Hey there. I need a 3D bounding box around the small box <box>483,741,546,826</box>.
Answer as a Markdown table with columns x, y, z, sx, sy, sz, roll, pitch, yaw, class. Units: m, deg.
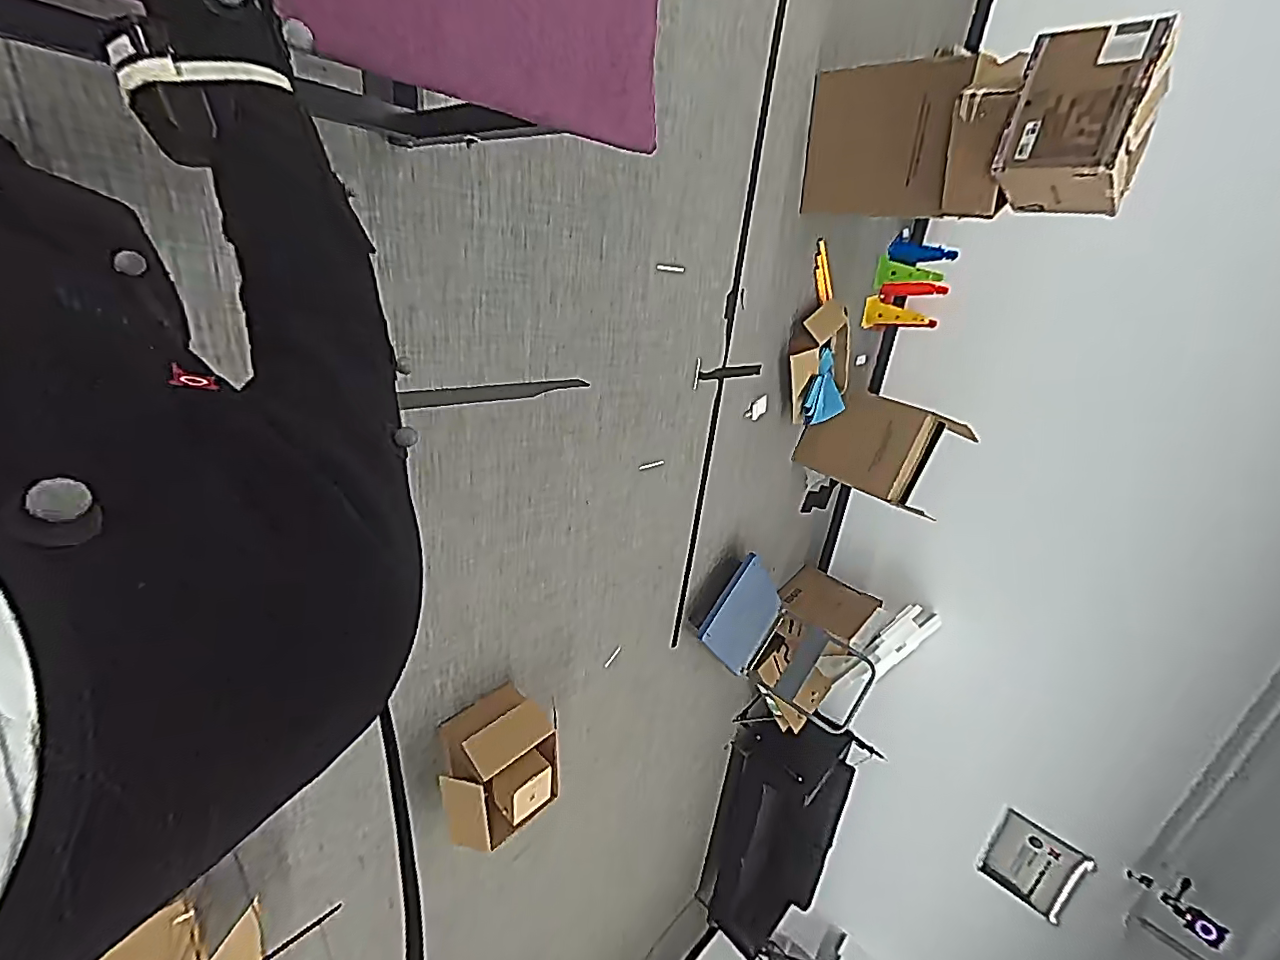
| x | y | z | sx | sy | sz | roll | pitch | yaw | class |
| --- | --- | --- | --- | --- | --- | --- | --- | --- | --- |
| -0.463 | 1.108 | 1.987 | 0.168 | 0.176 | 0.179 | -19 | 124 | -44 | small box |
